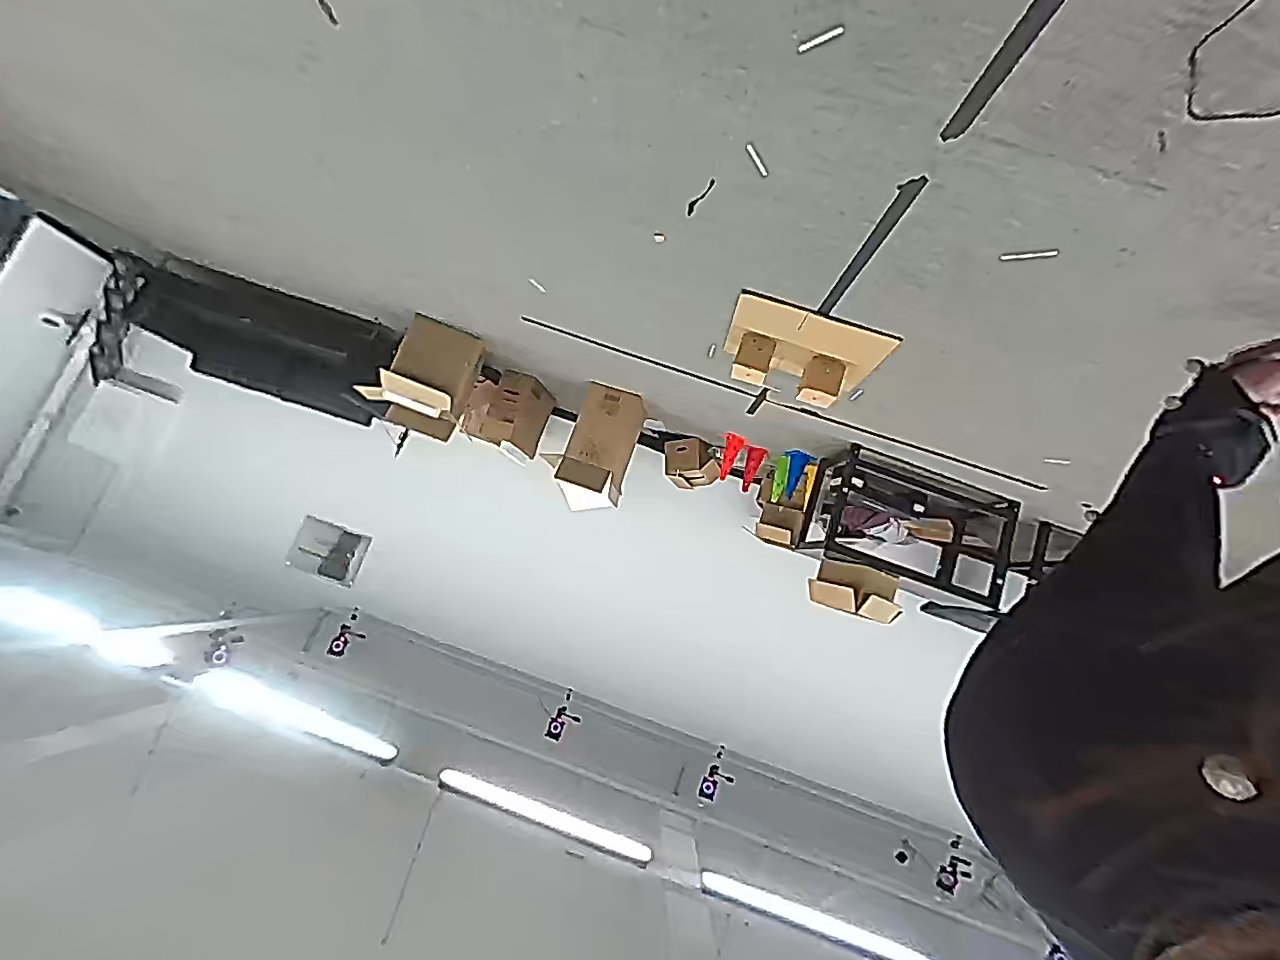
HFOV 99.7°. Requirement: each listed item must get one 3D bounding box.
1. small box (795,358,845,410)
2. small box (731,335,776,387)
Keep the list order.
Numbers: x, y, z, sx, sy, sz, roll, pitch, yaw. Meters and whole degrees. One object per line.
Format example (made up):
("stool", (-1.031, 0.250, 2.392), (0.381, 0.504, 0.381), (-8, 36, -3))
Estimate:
("small box", (0.881, -0.470, 2.642), (0.168, 0.176, 0.179), (18, 170, 5))
("small box", (0.560, -0.589, 2.668), (0.168, 0.176, 0.179), (18, 170, 8))
